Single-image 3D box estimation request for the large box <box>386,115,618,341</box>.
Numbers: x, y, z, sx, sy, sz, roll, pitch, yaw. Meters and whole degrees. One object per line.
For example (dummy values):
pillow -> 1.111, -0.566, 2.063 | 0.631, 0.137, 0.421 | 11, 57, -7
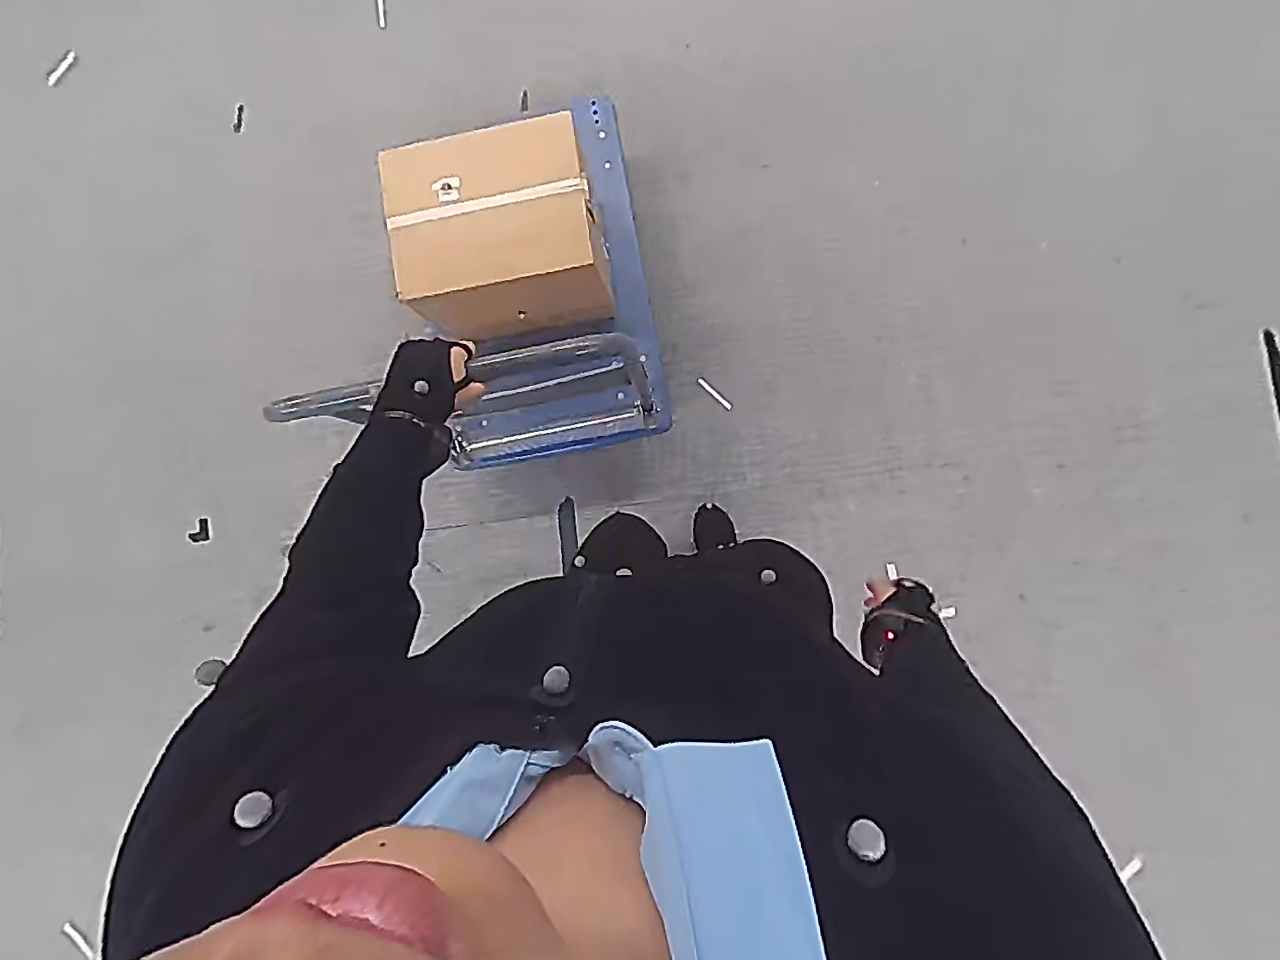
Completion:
large box -> -0.288, -0.539, 1.230 | 0.408, 0.320, 0.320 | -9, 86, 6
